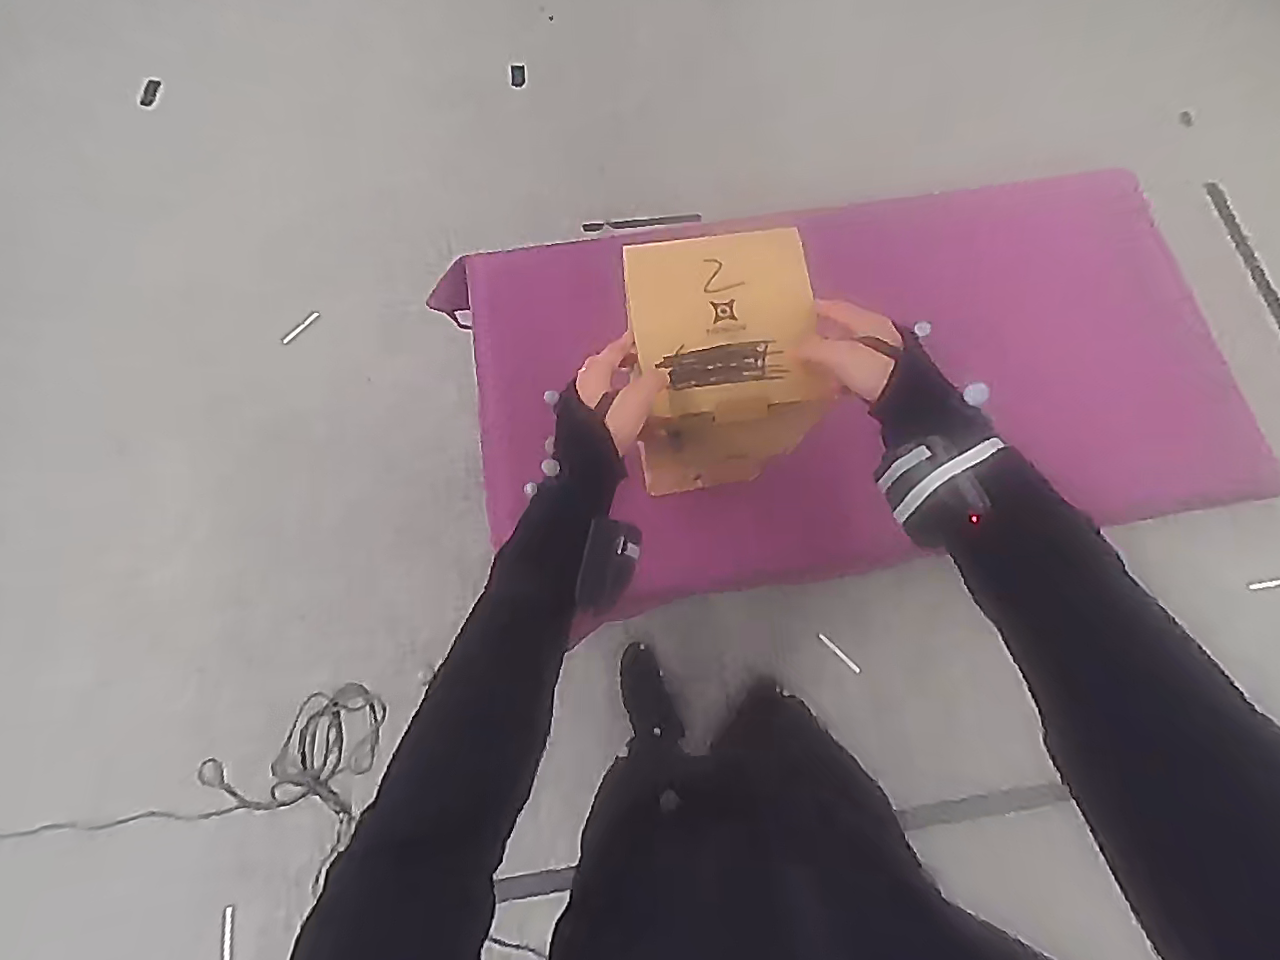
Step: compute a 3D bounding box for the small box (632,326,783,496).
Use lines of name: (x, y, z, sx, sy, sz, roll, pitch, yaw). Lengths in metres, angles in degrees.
small box: (0.082, -0.089, 0.763, 0.168, 0.176, 0.179, -9, 75, -4)
